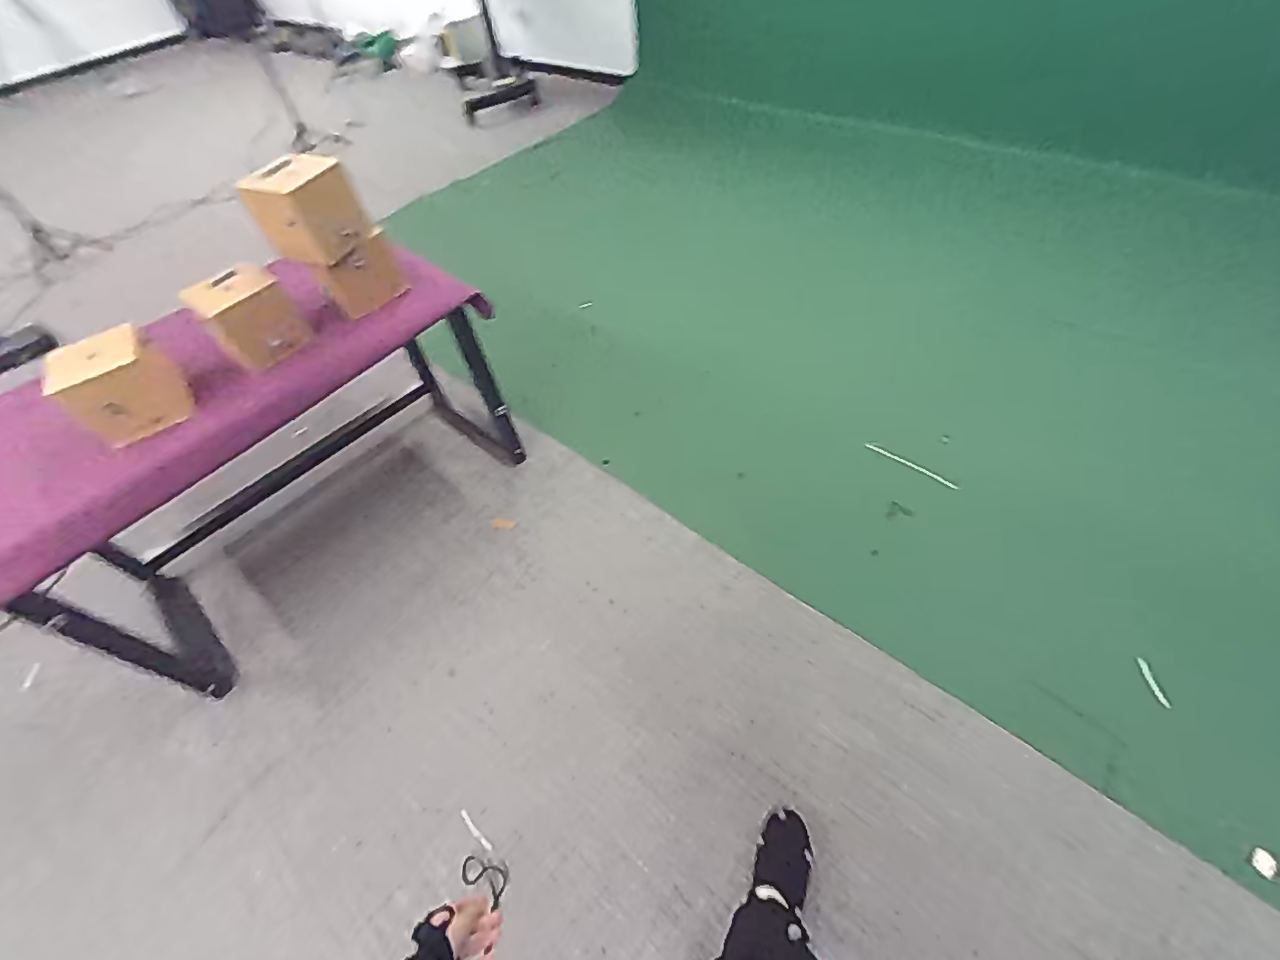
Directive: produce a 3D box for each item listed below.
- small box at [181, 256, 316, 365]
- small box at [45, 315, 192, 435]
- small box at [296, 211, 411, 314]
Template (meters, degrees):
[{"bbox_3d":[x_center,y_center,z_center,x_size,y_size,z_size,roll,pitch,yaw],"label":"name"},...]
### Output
[{"bbox_3d":[-0.933,-0.403,1.299,0.179,0.176,0.168,30,61,26],"label":"small box"},{"bbox_3d":[-1.125,-0.221,1.179,0.168,0.176,0.179,-31,54,-17],"label":"small box"},{"bbox_3d":[-0.733,-0.559,1.398,0.168,0.176,0.179,36,64,29],"label":"small box"}]
